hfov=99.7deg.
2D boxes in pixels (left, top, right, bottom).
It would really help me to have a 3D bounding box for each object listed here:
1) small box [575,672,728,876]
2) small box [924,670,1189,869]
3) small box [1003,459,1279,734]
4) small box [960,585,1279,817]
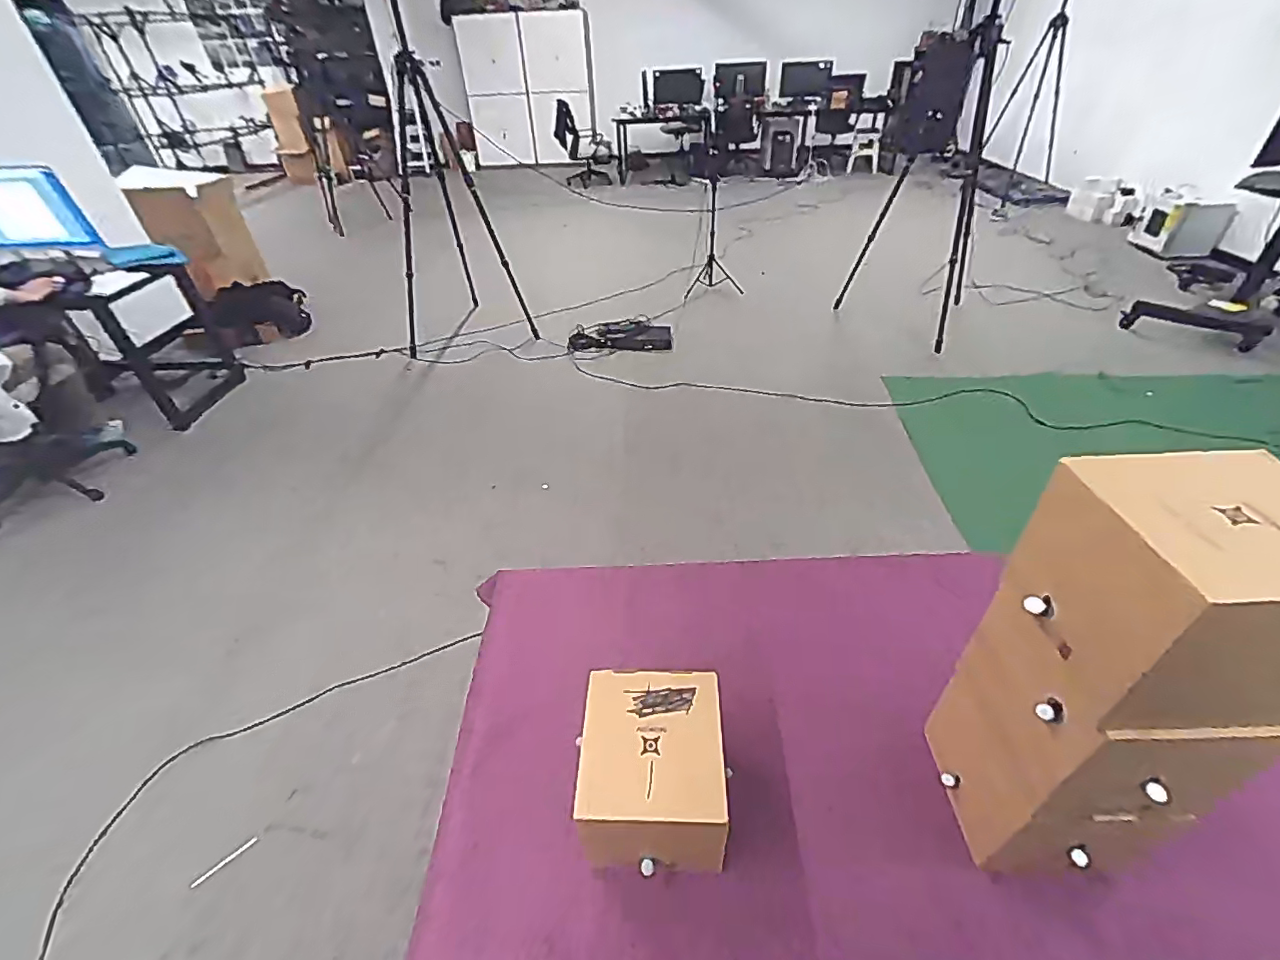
[{"bbox_3d":[0.017,0.366,0.681,0.168,0.176,0.179,0,40,3],"label":"small box"},{"bbox_3d":[0.483,0.356,0.666,0.168,0.176,0.179,-1,40,2],"label":"small box"},{"bbox_3d":[0.463,0.098,0.463,0.179,0.176,0.168,-2,38,2],"label":"small box"},{"bbox_3d":[0.473,0.228,0.561,0.168,0.176,0.179,-1,39,2],"label":"small box"}]
